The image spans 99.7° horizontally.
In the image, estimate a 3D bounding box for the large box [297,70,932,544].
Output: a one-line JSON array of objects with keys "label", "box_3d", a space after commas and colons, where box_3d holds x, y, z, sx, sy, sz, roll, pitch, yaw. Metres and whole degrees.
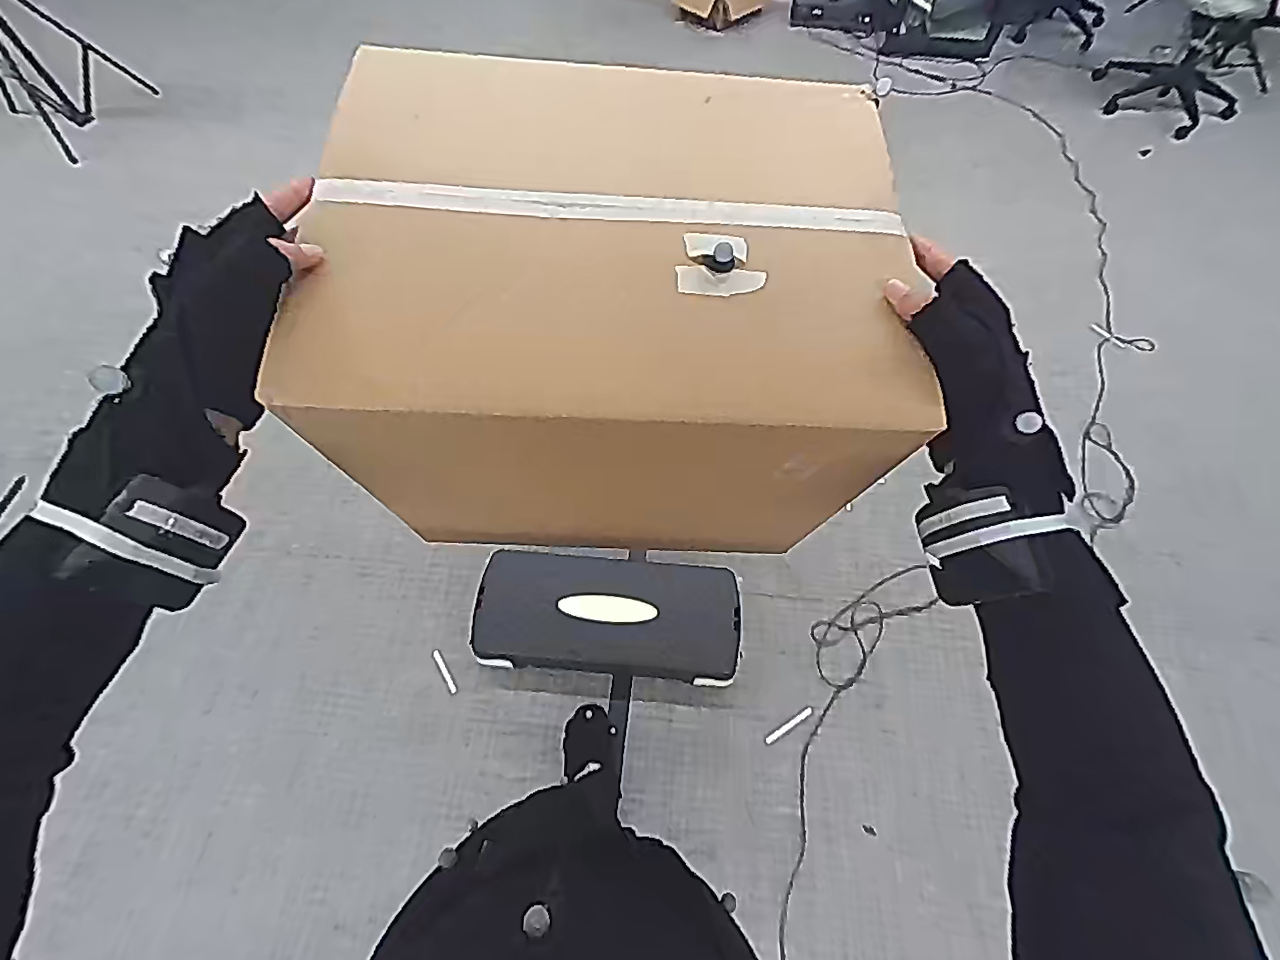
[{"label": "large box", "box_3d": [-0.021, -0.126, 0.525, 0.408, 0.320, 0.320, 2, 69, -4]}]
